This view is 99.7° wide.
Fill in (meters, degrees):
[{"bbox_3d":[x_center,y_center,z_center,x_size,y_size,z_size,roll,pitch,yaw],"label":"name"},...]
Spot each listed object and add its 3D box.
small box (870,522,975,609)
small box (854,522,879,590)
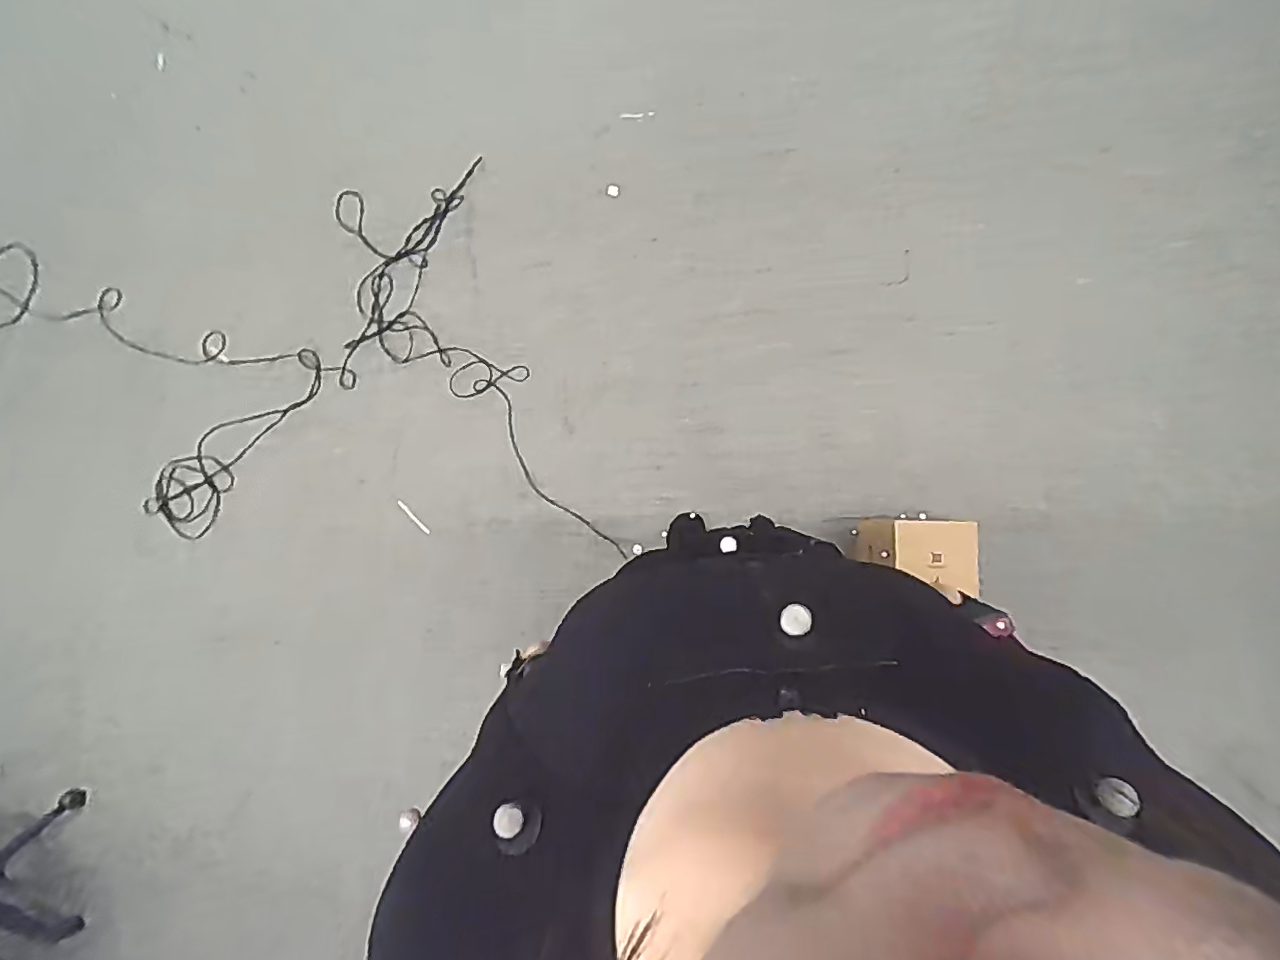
[{"bbox_3d":[0.622,0.183,1.209,0.168,0.176,0.179,1,87,8],"label":"small box"},{"bbox_3d":[0.650,0.192,1.371,0.179,0.176,0.168,0,86,7],"label":"small box"}]
